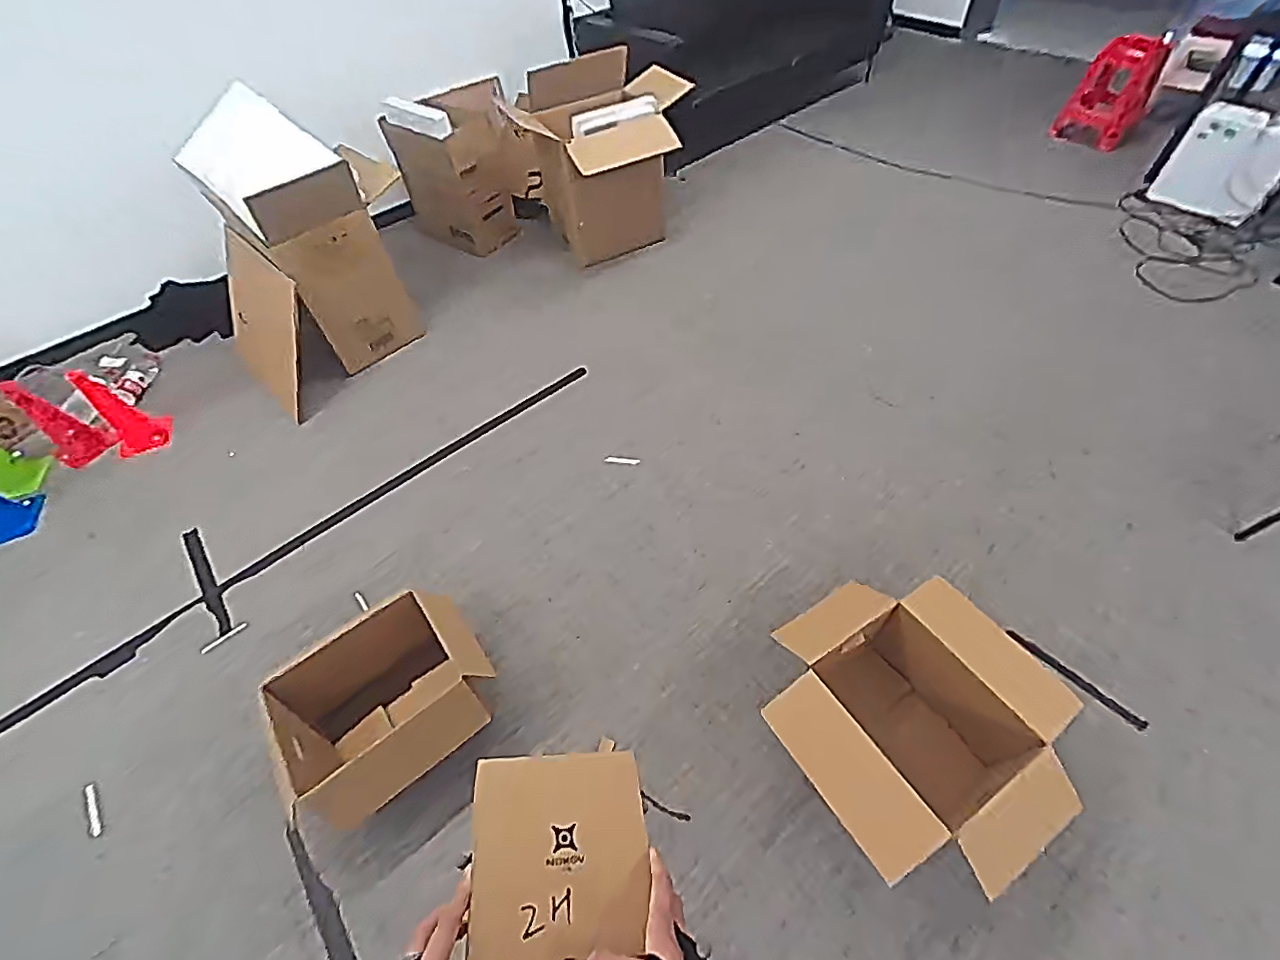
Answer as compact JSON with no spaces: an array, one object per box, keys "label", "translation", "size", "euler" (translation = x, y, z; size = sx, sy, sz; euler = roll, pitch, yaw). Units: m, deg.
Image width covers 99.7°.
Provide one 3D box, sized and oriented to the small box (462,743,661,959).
[{"label":"small box","translation":[-0.090,0.398,0.555],"size":[0.168,0.176,0.179],"euler":[4,40,-15]}]
